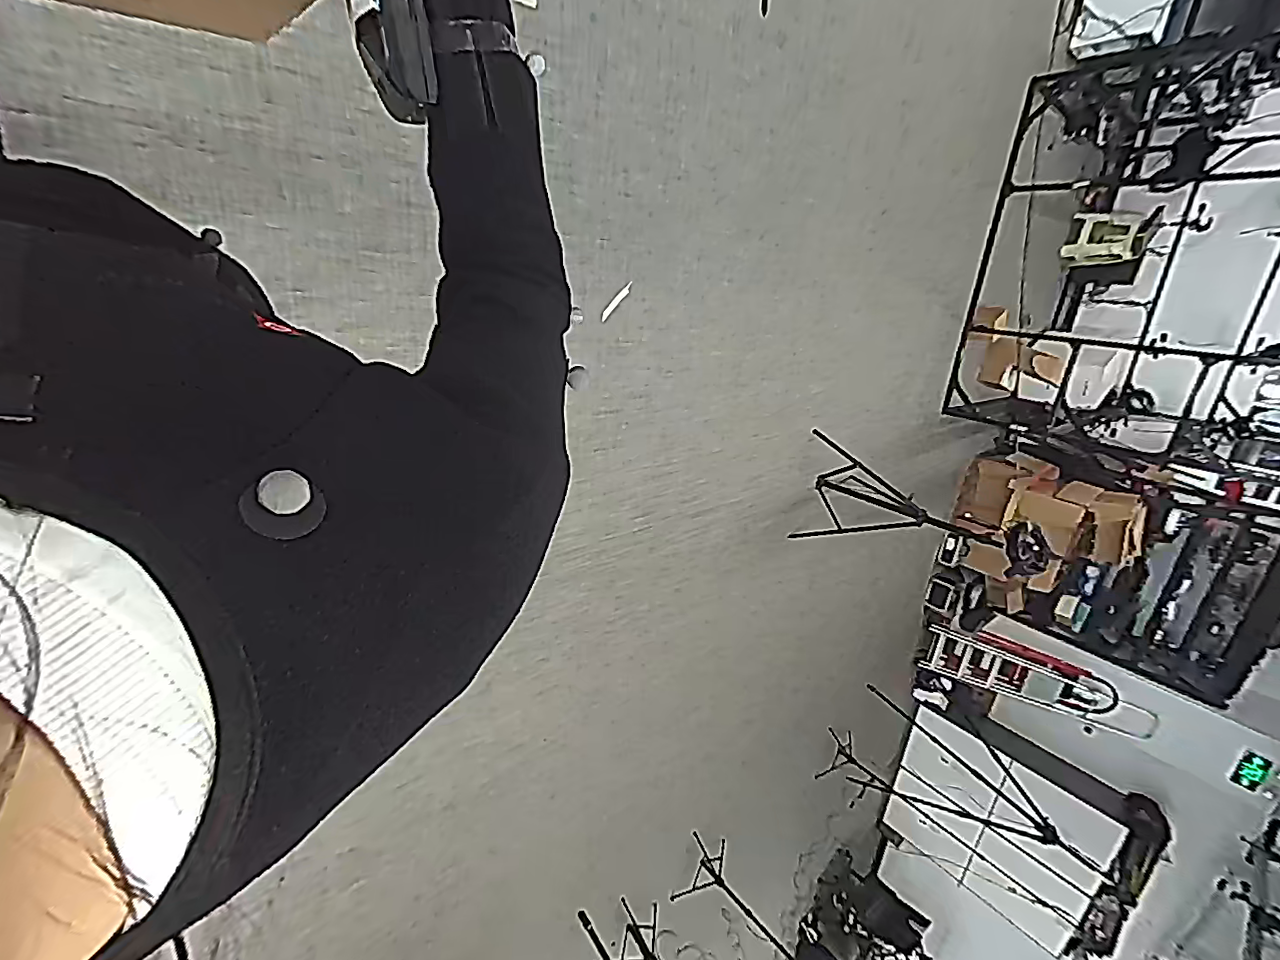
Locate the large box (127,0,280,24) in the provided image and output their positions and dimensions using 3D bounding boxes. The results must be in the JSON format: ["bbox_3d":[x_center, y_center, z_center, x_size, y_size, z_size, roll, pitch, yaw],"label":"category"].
[{"bbox_3d":[-0.388,-0.424,0.197,0.408,0.320,0.320,-18,127,-36],"label":"large box"}]
